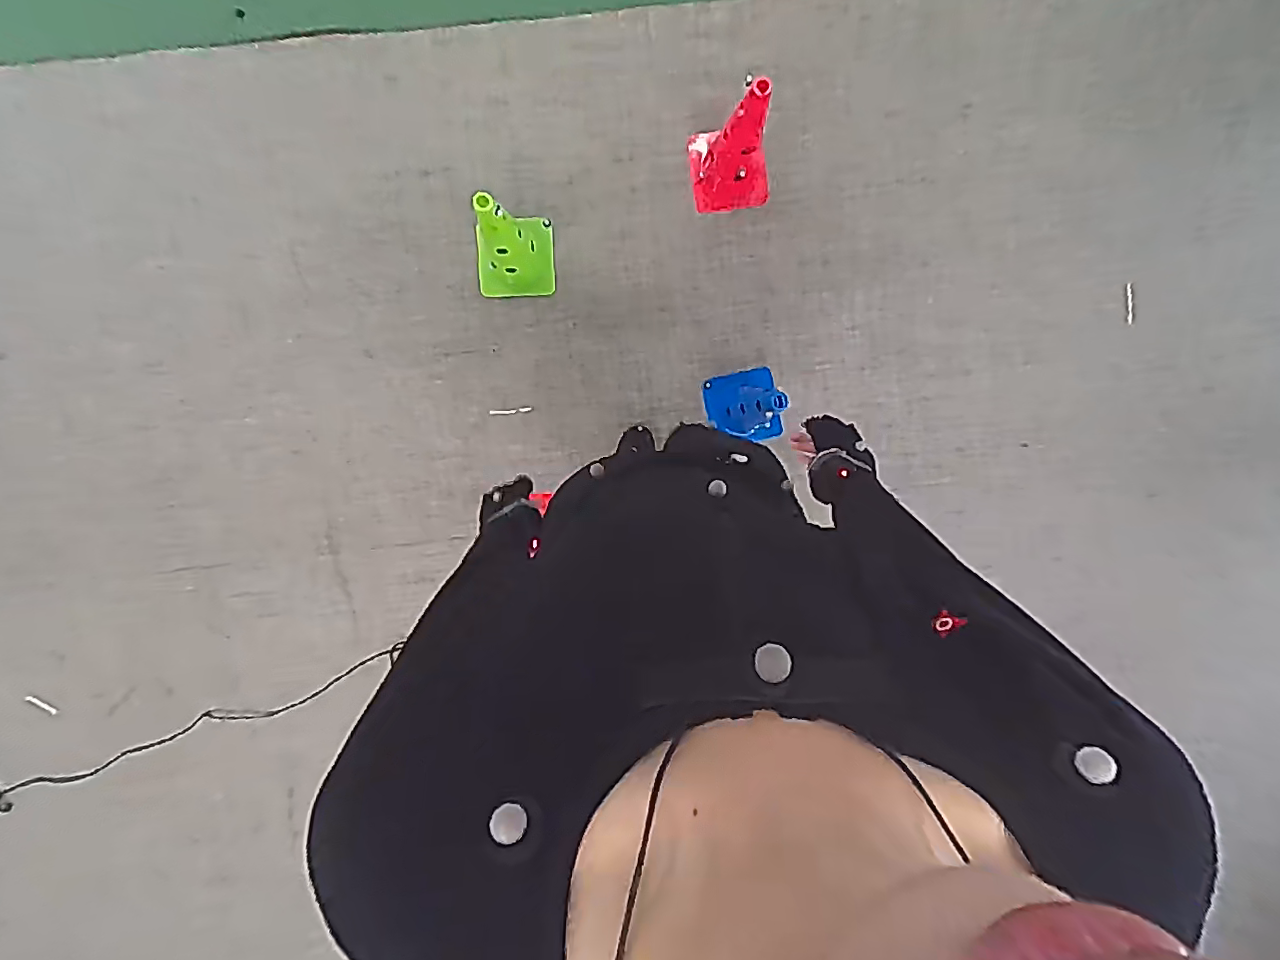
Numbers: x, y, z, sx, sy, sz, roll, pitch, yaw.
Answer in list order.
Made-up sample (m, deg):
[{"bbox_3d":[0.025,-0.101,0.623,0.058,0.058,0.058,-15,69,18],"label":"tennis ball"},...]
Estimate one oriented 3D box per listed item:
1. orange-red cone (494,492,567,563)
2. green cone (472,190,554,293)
[{"bbox_3d":[-0.294,0.144,1.325,0.198,0.360,0.199,-2,94,-3],"label":"orange-red cone"},{"bbox_3d":[-0.327,-0.584,1.256,0.200,0.368,0.202,-4,96,-1],"label":"green cone"}]
